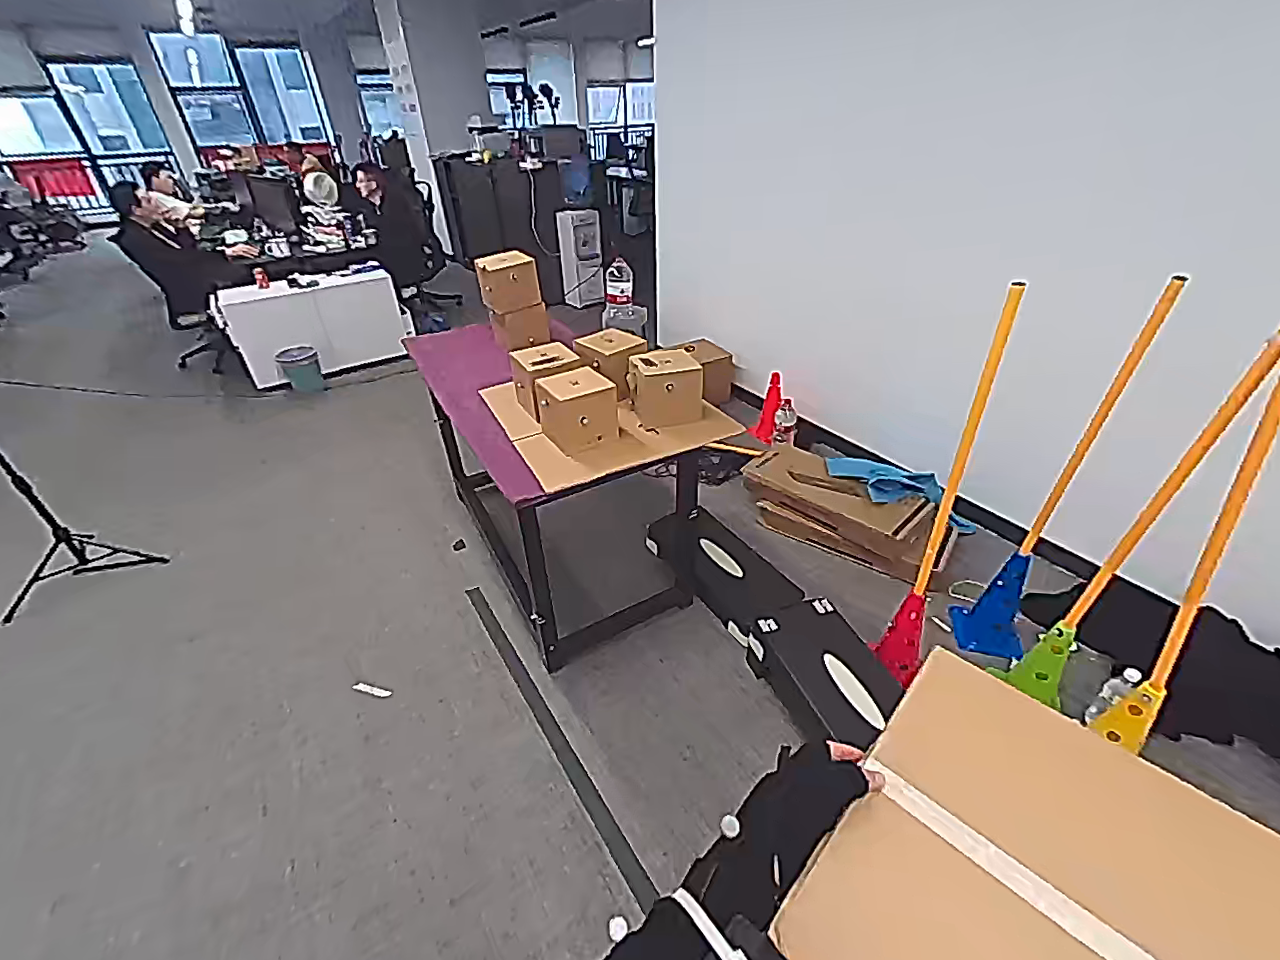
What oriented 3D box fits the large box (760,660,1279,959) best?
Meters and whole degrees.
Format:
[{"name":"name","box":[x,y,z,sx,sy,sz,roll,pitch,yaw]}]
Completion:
[{"name":"large box","box":[0.354,0.452,0.475,0.408,0.320,0.320,30,54,34]}]
